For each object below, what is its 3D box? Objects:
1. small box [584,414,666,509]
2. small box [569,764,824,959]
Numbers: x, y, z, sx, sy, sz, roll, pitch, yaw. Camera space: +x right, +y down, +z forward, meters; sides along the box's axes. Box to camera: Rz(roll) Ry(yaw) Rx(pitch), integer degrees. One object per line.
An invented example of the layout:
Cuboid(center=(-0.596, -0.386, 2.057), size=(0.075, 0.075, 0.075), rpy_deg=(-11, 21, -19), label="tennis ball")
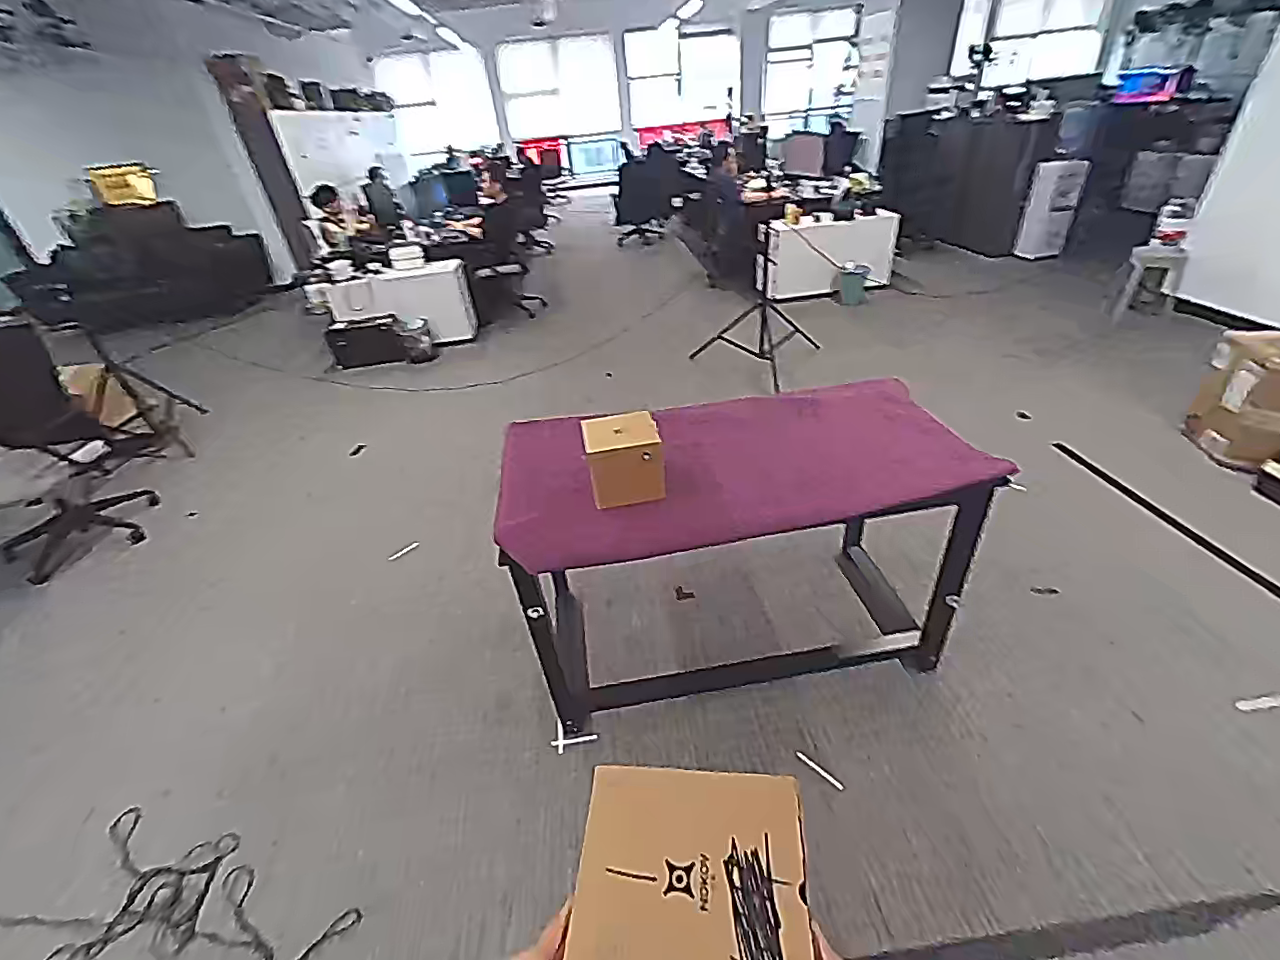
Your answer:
Cuboid(center=(-0.038, -0.045, 1.358), size=(0.179, 0.176, 0.168), rpy_deg=(-10, 34, -6), label="small box")
Cuboid(center=(0.050, 0.365, 0.452), size=(0.179, 0.176, 0.168), rpy_deg=(-2, 36, 9), label="small box")
